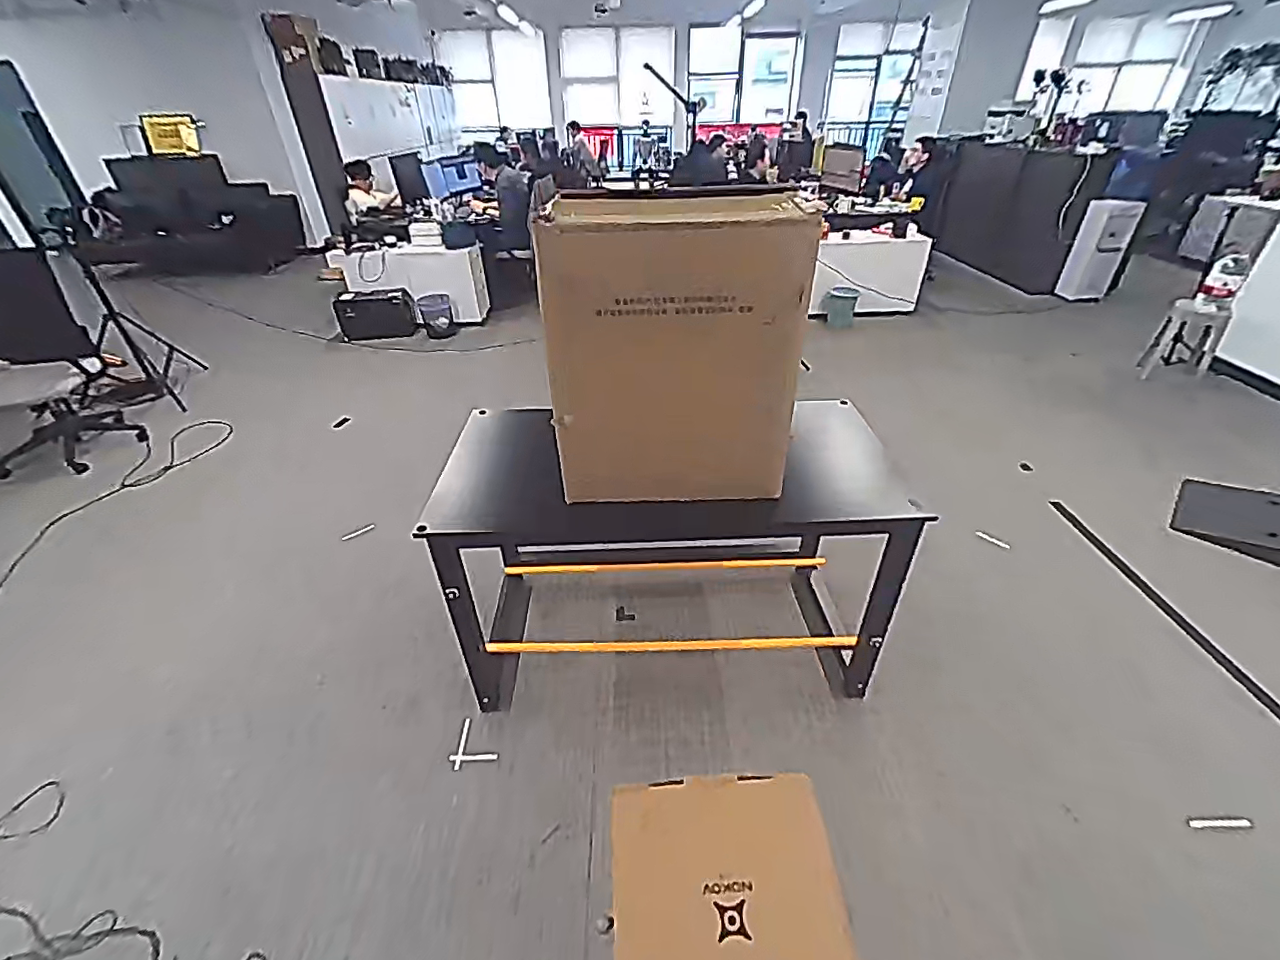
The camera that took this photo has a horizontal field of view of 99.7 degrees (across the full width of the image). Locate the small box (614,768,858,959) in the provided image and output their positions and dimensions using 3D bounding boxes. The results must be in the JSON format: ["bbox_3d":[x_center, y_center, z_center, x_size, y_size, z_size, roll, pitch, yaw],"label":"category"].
[{"bbox_3d":[0.062,0.360,0.439,0.168,0.176,0.179,-2,43,-3],"label":"small box"}]
